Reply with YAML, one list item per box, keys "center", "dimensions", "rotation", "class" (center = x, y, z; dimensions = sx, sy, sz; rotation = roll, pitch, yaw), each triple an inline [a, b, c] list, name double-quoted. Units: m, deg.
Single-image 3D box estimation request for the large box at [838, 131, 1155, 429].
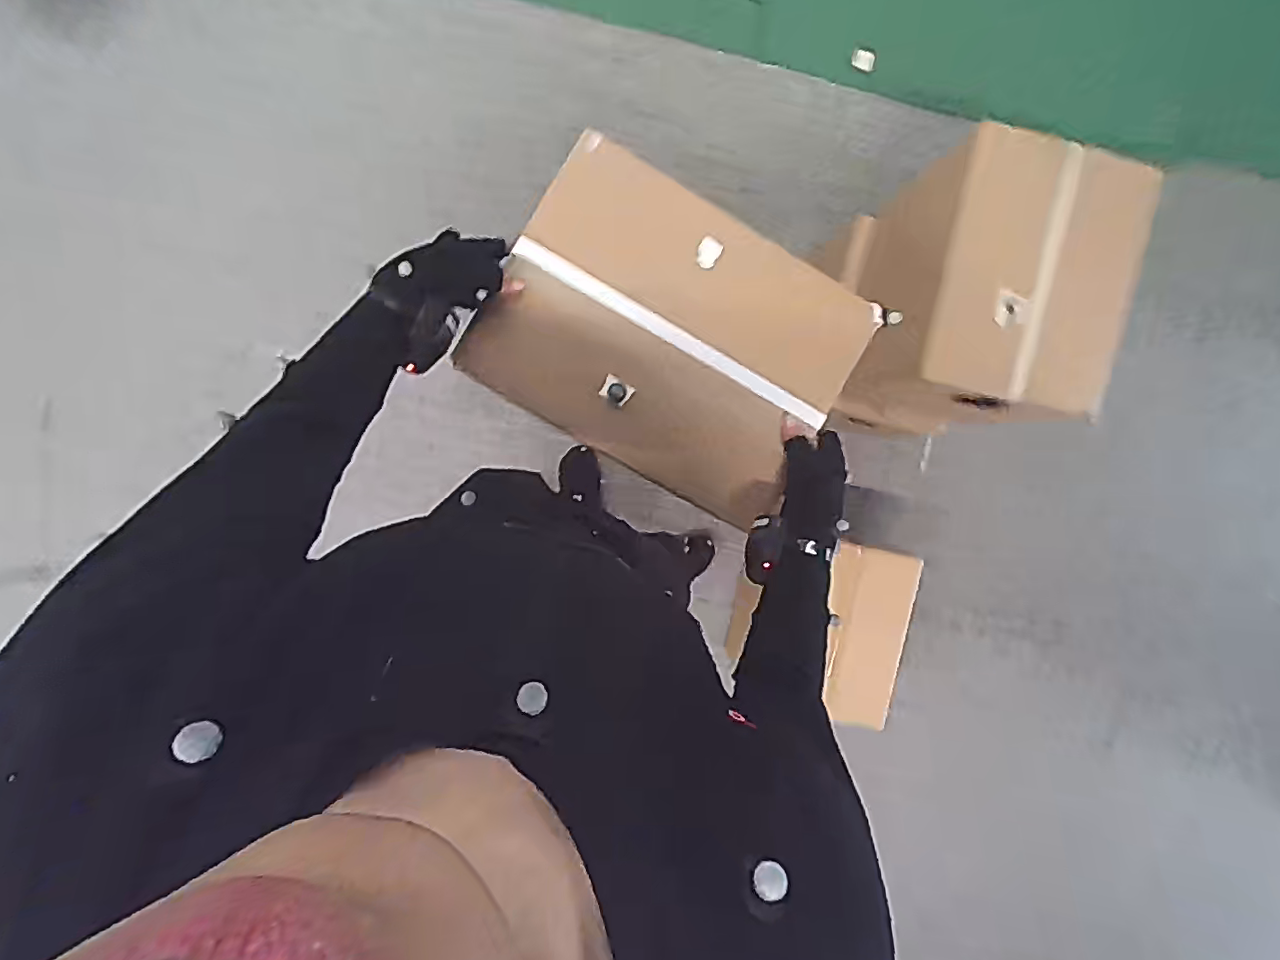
- center: [0.617, -0.324, 1.001]
  dimensions: [0.320, 0.320, 0.408]
  rotation: [13, 94, -6]
  class: "large box"
